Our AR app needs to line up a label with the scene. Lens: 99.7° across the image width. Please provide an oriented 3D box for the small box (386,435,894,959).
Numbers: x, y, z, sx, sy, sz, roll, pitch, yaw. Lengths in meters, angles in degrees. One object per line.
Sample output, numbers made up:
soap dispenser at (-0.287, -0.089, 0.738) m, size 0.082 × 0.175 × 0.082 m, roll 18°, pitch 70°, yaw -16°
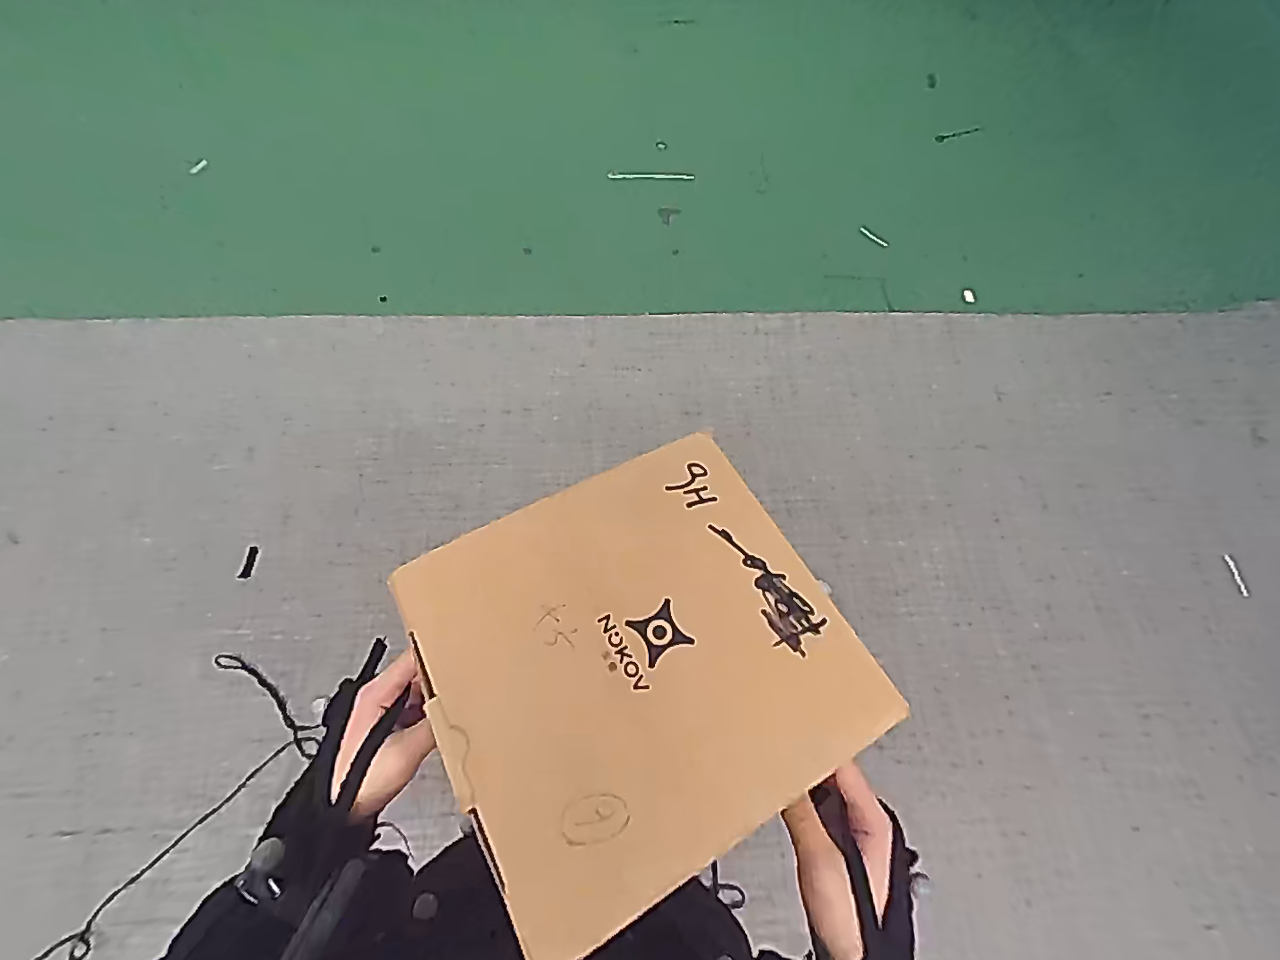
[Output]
small box at (-0.007, 0.112, 0.307) m, size 0.179 × 0.176 × 0.168 m, roll -26°, pitch 64°, yaw -16°
